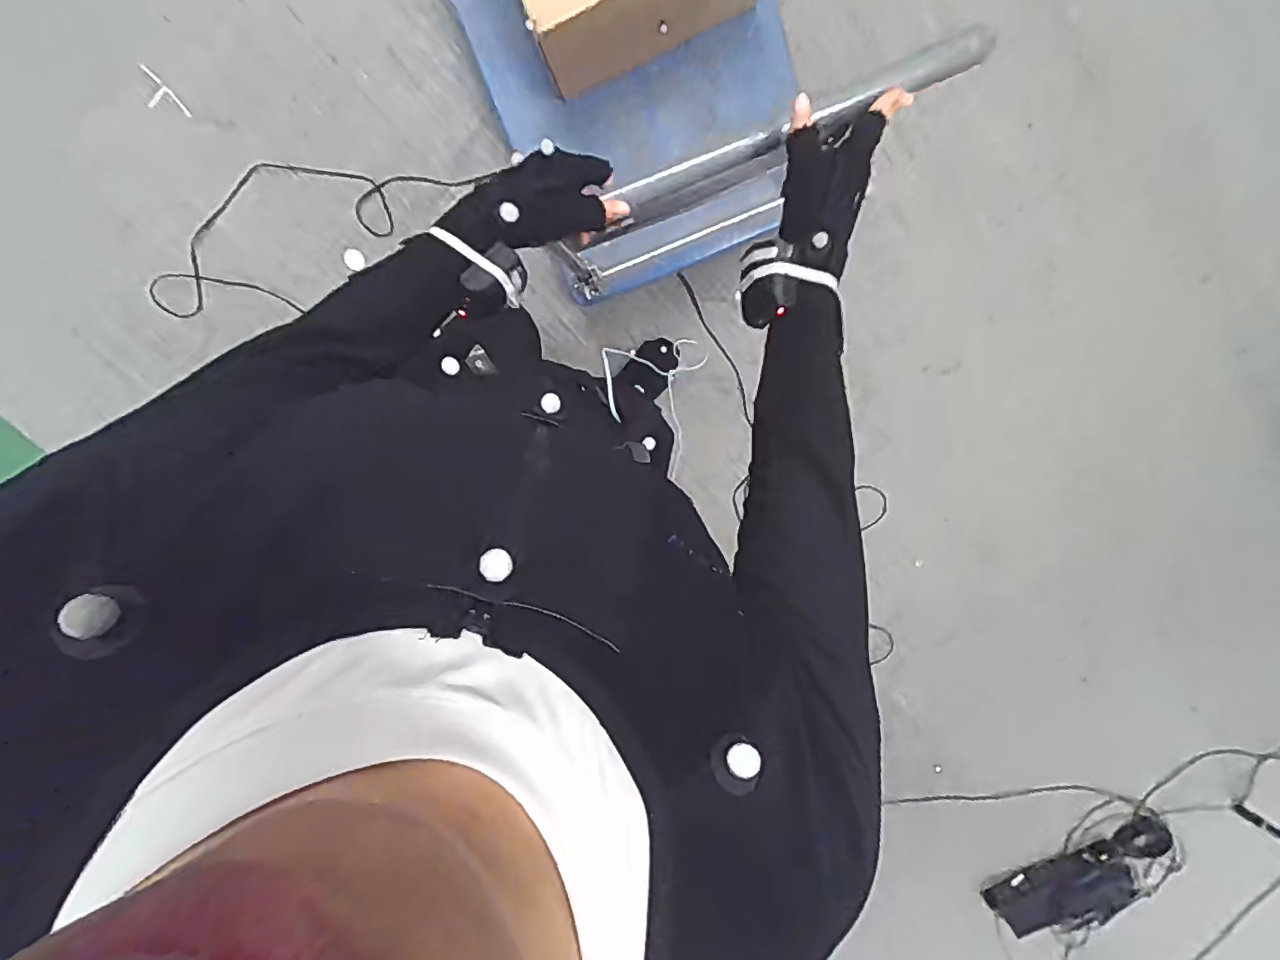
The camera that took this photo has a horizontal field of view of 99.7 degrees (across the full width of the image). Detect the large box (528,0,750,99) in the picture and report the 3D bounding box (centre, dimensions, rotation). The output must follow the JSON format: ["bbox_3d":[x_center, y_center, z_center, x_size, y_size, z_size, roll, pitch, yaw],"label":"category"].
[{"bbox_3d":[-0.017,-0.913,0.867,0.408,0.320,0.320,-23,107,9],"label":"large box"}]
